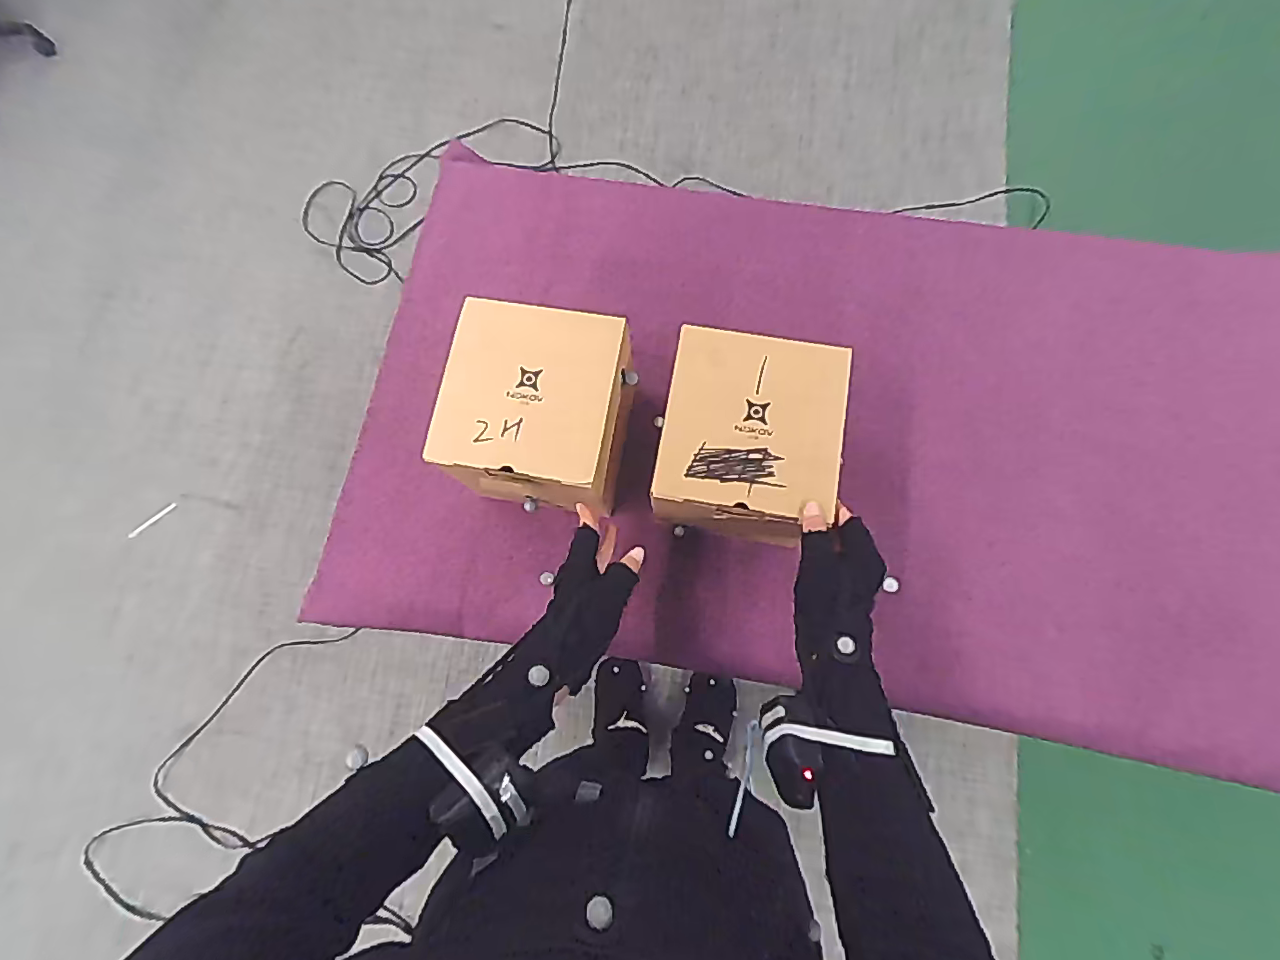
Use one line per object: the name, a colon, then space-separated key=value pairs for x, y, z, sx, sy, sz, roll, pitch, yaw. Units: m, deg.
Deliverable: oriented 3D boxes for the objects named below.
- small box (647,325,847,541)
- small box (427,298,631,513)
small box: x=0.107 y=-0.038 z=0.582 sx=0.168 sy=0.176 sz=0.179 roll=10 pitch=77 yaw=5
small box: x=-0.104 y=-0.072 z=0.601 sx=0.168 sy=0.176 sz=0.179 roll=9 pitch=78 yaw=5
